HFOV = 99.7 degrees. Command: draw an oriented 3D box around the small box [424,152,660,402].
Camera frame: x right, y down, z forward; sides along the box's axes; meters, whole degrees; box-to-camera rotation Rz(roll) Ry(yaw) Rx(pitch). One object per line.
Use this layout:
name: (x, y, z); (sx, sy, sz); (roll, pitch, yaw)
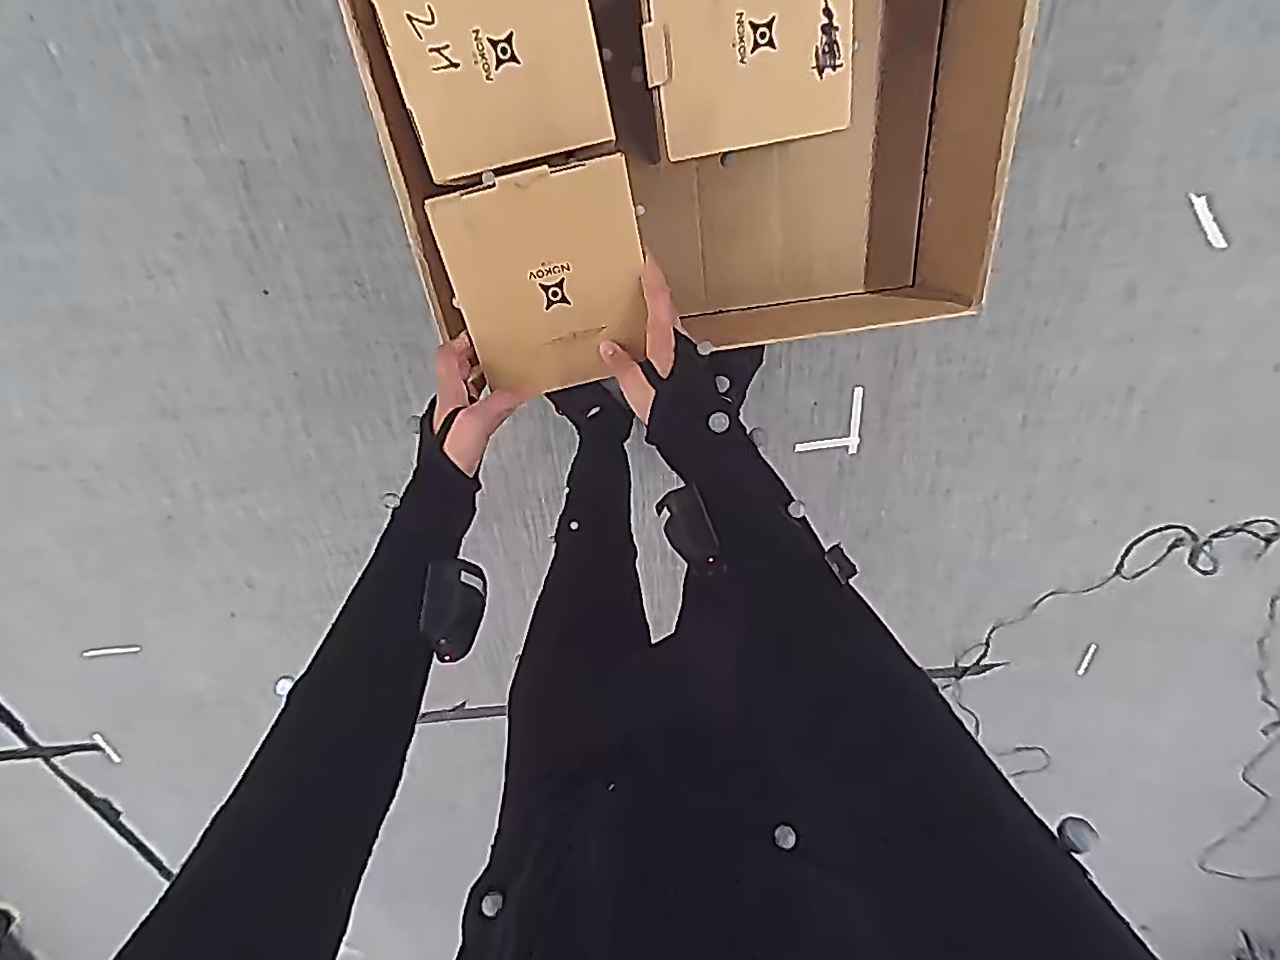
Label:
small box: (-0.085, -0.198, 0.534); (0.168, 0.176, 0.179); (-13, 116, 1)
